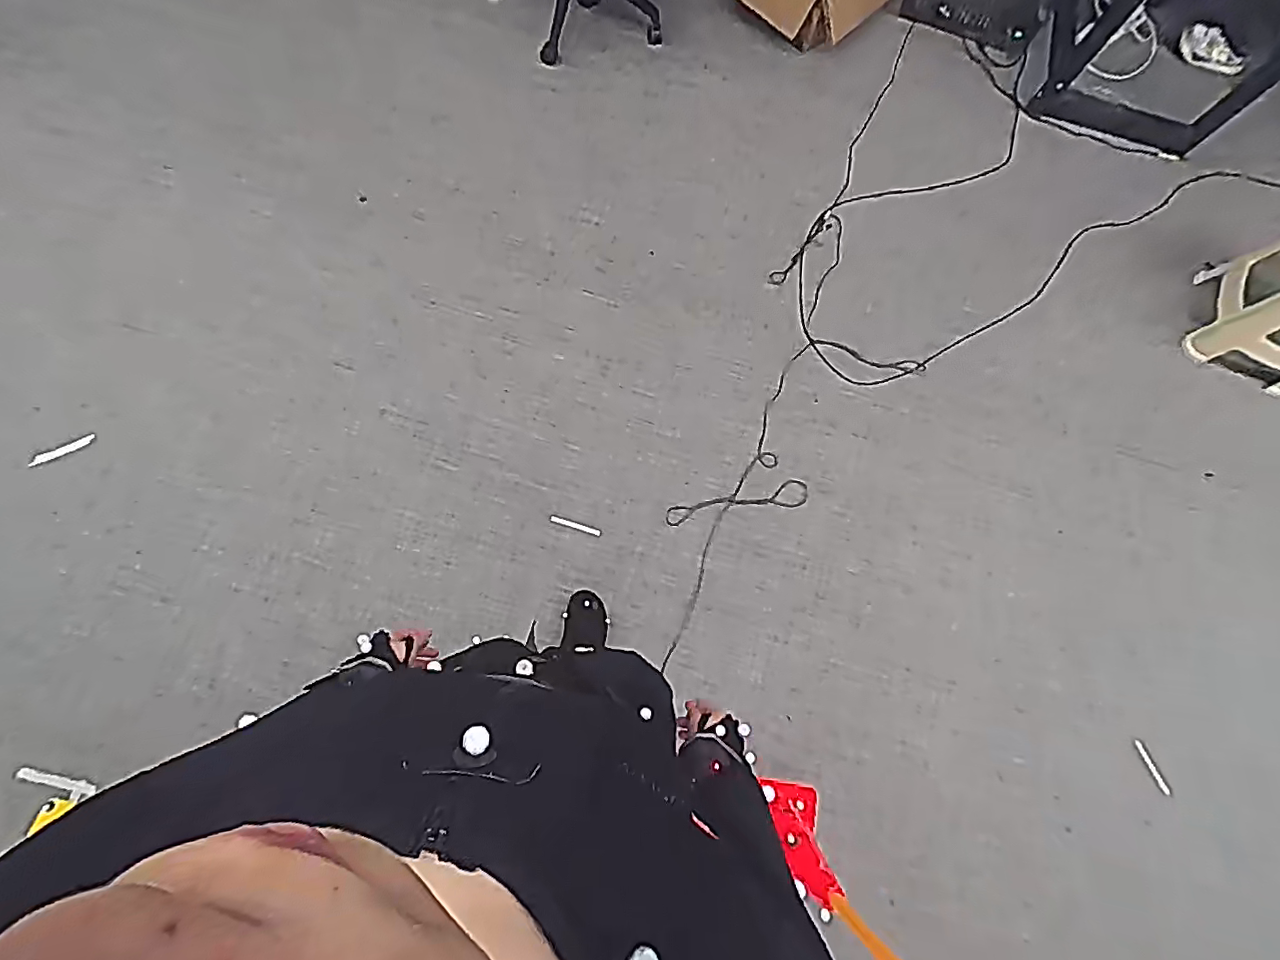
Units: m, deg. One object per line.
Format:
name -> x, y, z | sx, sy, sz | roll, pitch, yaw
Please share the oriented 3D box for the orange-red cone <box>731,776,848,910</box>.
orange-red cone -> 0.329, 0.771, 1.104 | 0.199, 0.360, 0.198 | 12, 74, 0
